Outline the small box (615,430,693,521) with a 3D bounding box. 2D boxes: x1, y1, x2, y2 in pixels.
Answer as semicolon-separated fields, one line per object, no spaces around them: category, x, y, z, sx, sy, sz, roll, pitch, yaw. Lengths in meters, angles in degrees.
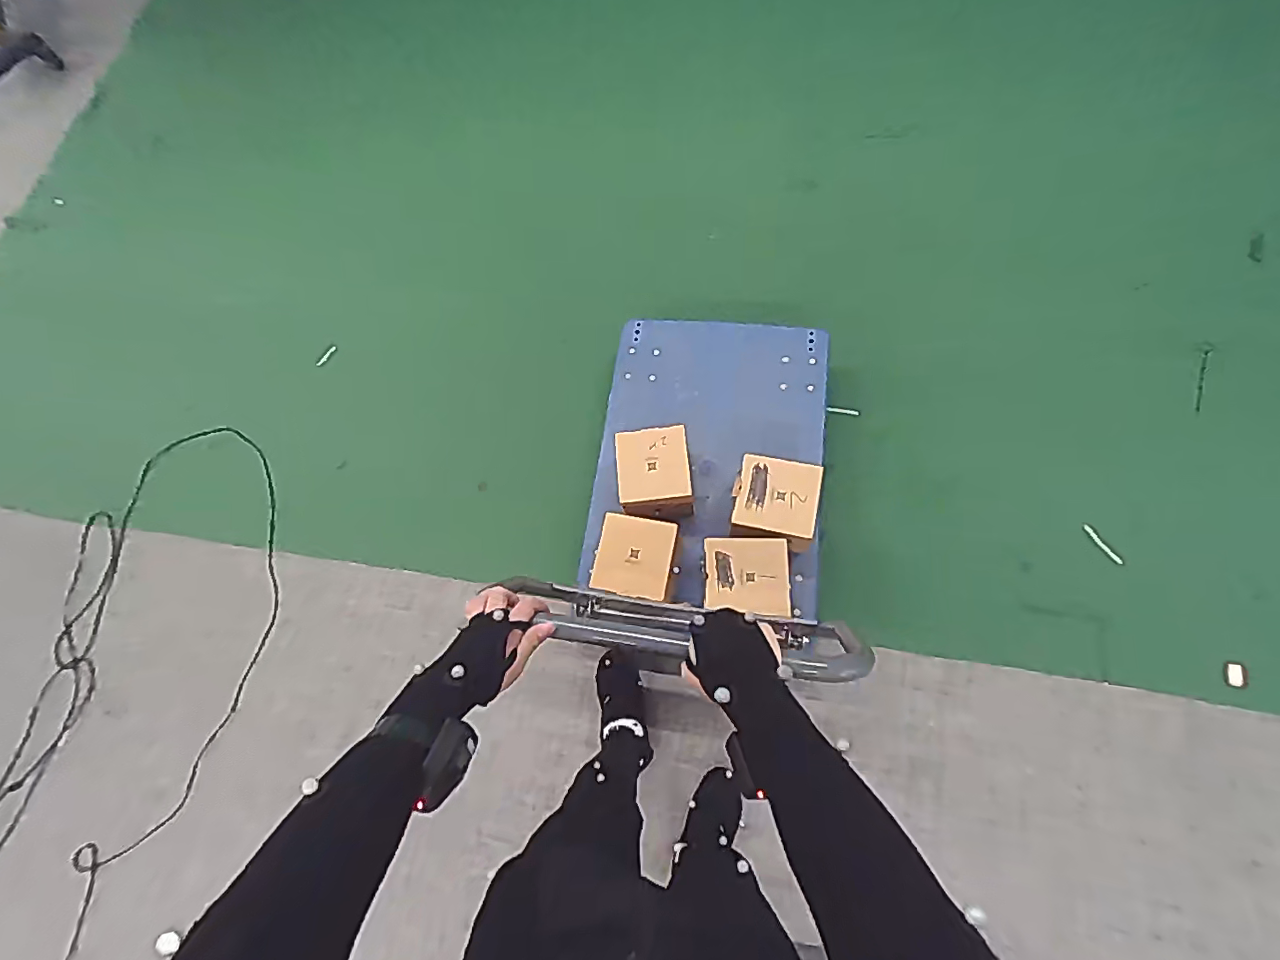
small box;0.038;-0.003;1.306;0.168;0.176;0.179;-6;70;5
